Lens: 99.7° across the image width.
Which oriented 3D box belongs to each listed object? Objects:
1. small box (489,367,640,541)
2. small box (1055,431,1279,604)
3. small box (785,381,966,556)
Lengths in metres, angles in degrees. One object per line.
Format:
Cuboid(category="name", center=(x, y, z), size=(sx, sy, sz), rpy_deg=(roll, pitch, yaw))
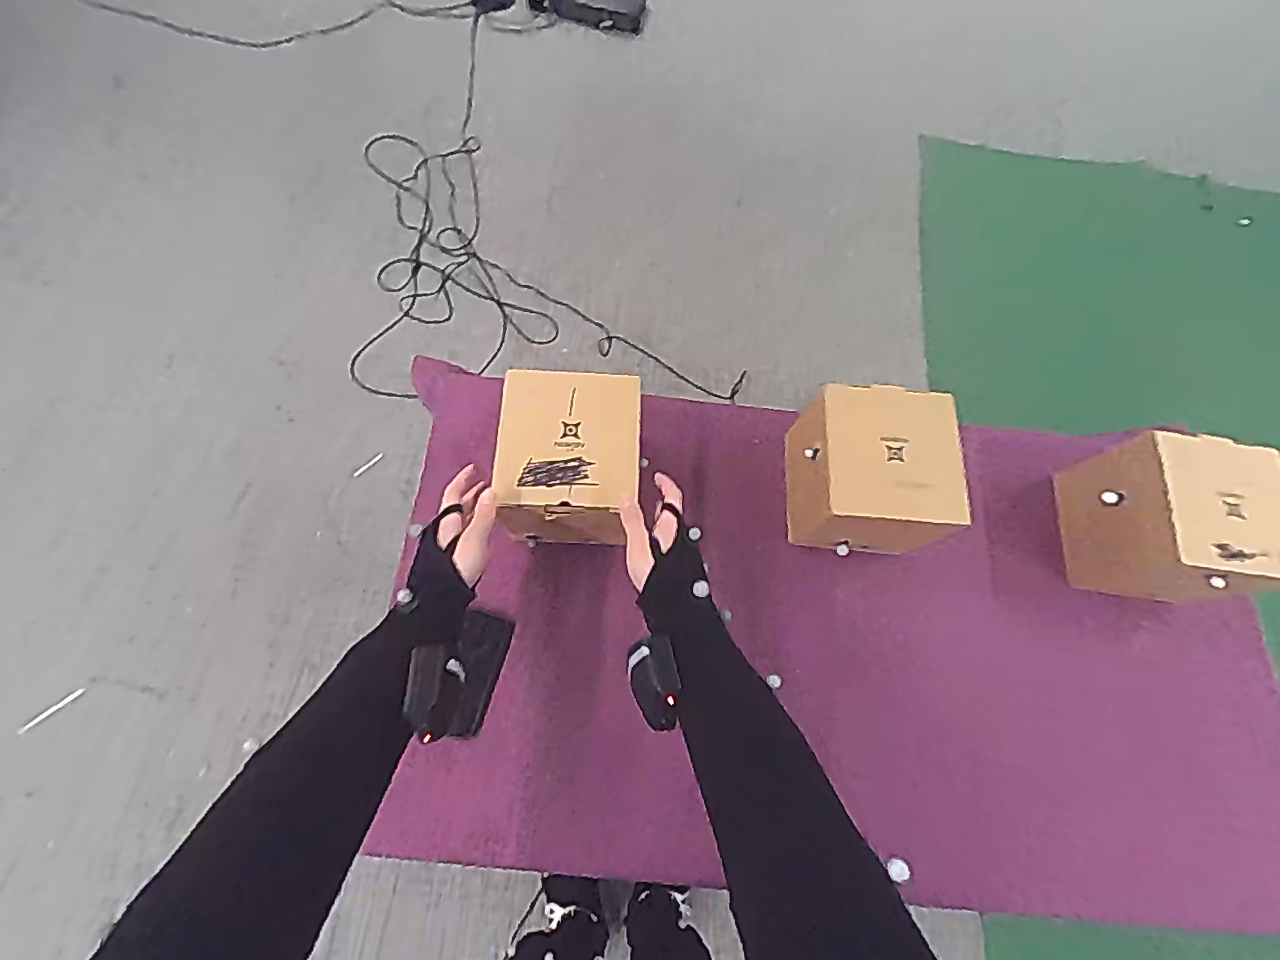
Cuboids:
Cuboid(category="small box", center=(-0.089, -0.024, 0.703), size=(0.168, 0.176, 0.179), rpy_deg=(3, 69, -4))
Cuboid(category="small box", center=(0.705, 0.058, 0.730), size=(0.168, 0.176, 0.179), rpy_deg=(8, 69, 0))
Cuboid(category="small box", center=(0.299, -0.008, 0.727), size=(0.168, 0.176, 0.179), rpy_deg=(6, 69, -1))
